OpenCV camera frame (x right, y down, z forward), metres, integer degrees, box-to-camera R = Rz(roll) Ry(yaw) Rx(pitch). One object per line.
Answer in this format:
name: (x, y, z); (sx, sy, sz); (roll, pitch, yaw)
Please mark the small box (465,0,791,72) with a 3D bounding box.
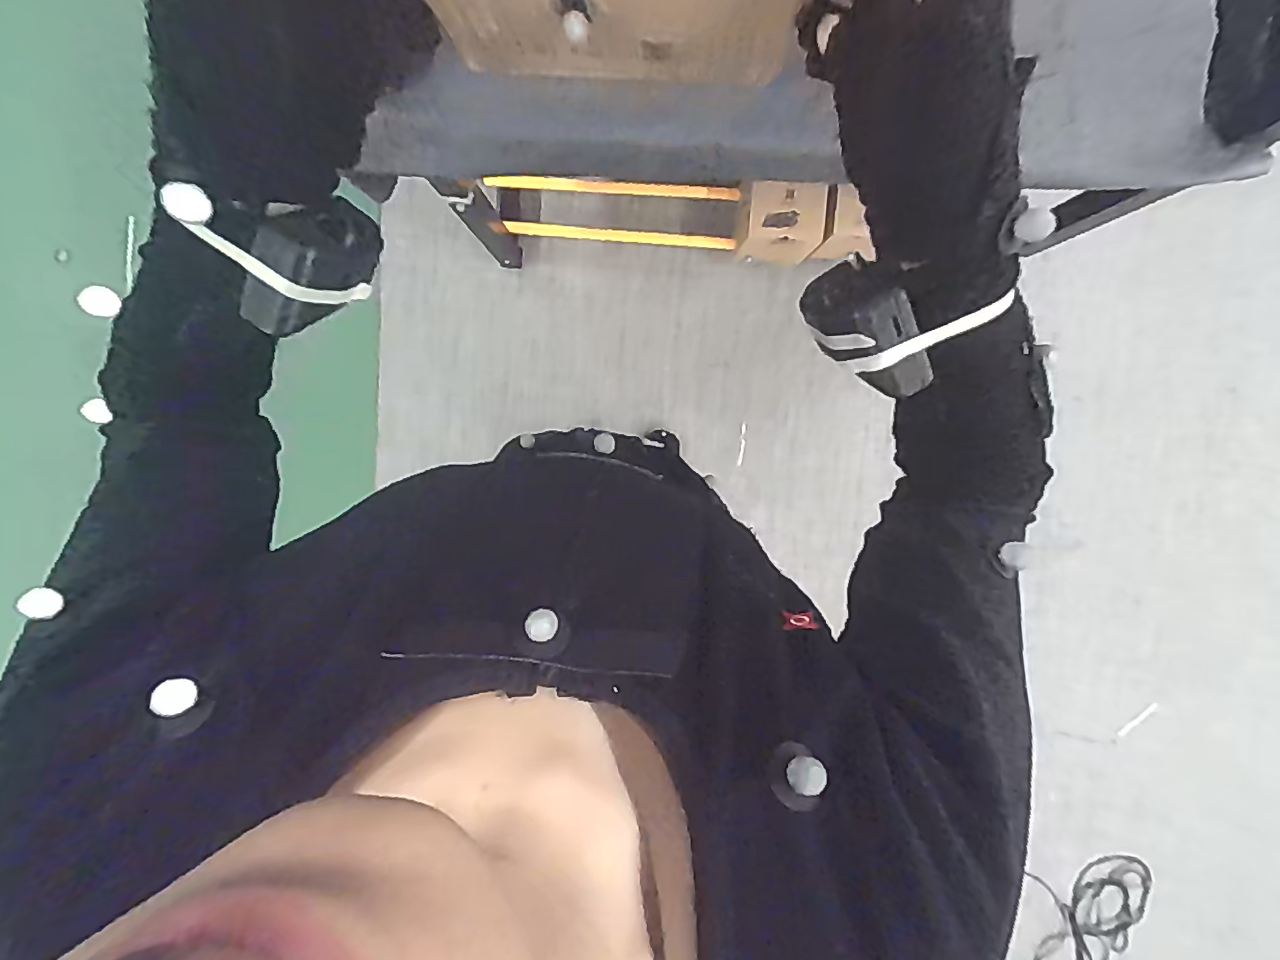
small box: (-0.009, -0.293, 0.195); (0.168, 0.176, 0.179); (5, 103, 3)
